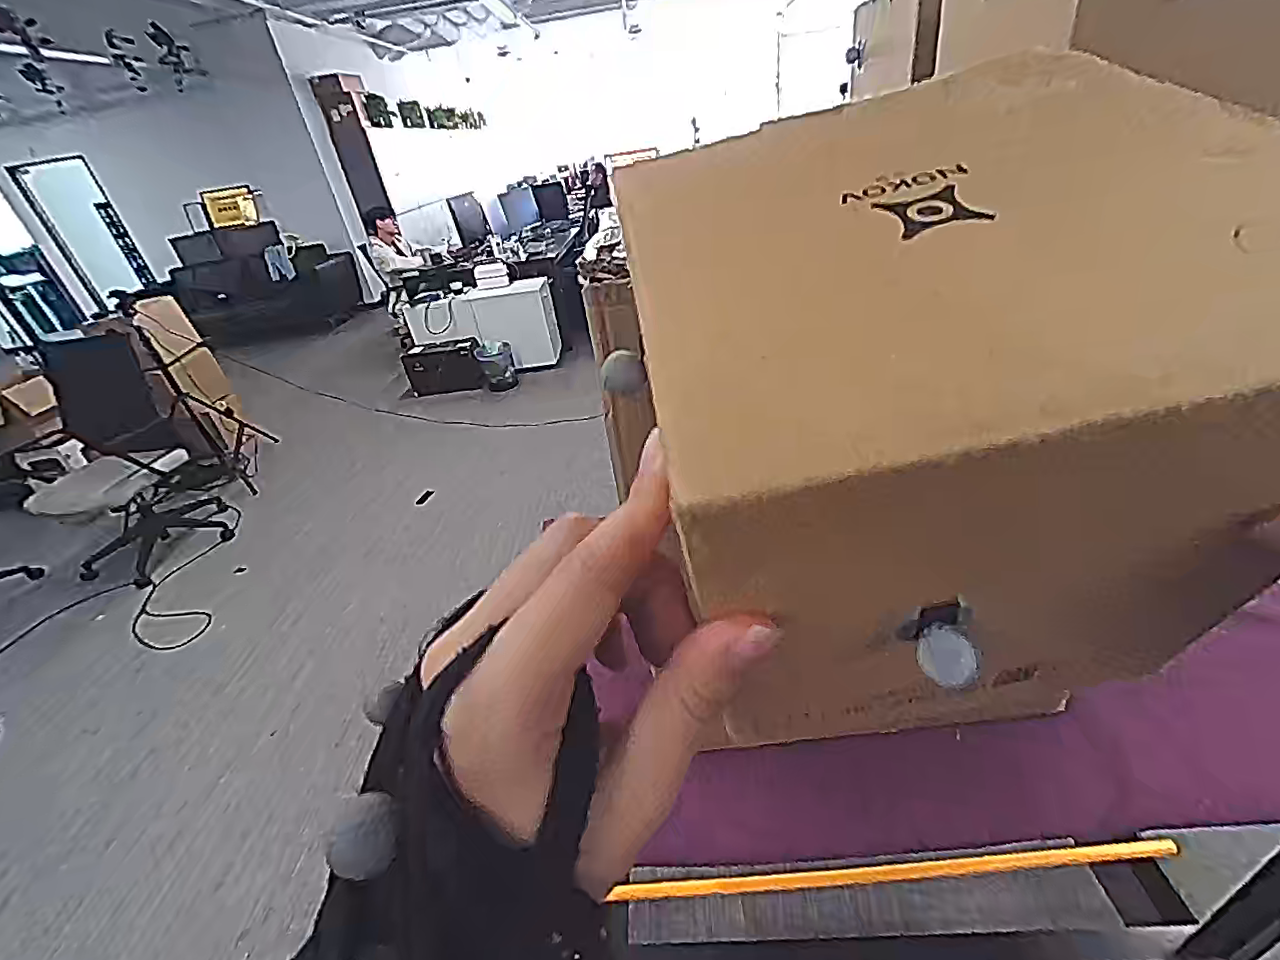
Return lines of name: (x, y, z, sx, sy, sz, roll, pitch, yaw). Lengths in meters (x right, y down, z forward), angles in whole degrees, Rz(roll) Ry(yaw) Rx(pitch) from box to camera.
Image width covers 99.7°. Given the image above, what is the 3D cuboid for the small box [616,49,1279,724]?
small box: (0.096, -0.022, 0.209, 0.168, 0.176, 0.179, -13, 48, 5)
